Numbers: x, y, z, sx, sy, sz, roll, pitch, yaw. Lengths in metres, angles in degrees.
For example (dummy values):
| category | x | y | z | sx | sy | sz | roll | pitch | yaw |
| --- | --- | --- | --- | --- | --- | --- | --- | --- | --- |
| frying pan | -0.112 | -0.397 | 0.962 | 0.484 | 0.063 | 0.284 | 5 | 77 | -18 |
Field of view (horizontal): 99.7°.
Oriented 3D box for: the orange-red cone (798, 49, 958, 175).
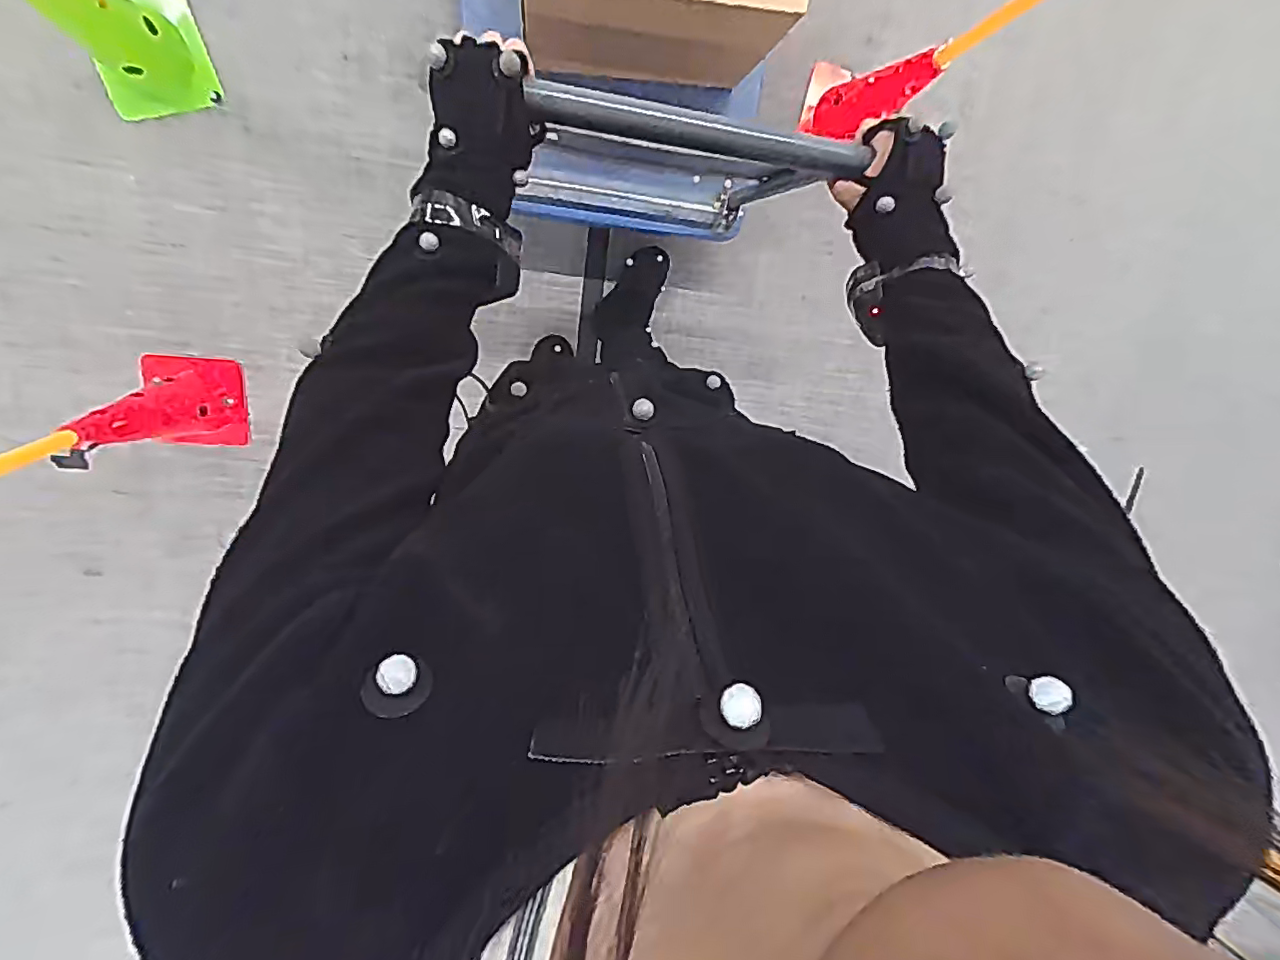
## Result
| category | x | y | z | sx | sy | sz | roll | pitch | yaw |
| --- | --- | --- | --- | --- | --- | --- | --- | --- | --- |
| orange-red cone | 0.516 | -0.798 | 1.120 | 0.199 | 0.360 | 0.198 | 10 | 106 | -14 |
